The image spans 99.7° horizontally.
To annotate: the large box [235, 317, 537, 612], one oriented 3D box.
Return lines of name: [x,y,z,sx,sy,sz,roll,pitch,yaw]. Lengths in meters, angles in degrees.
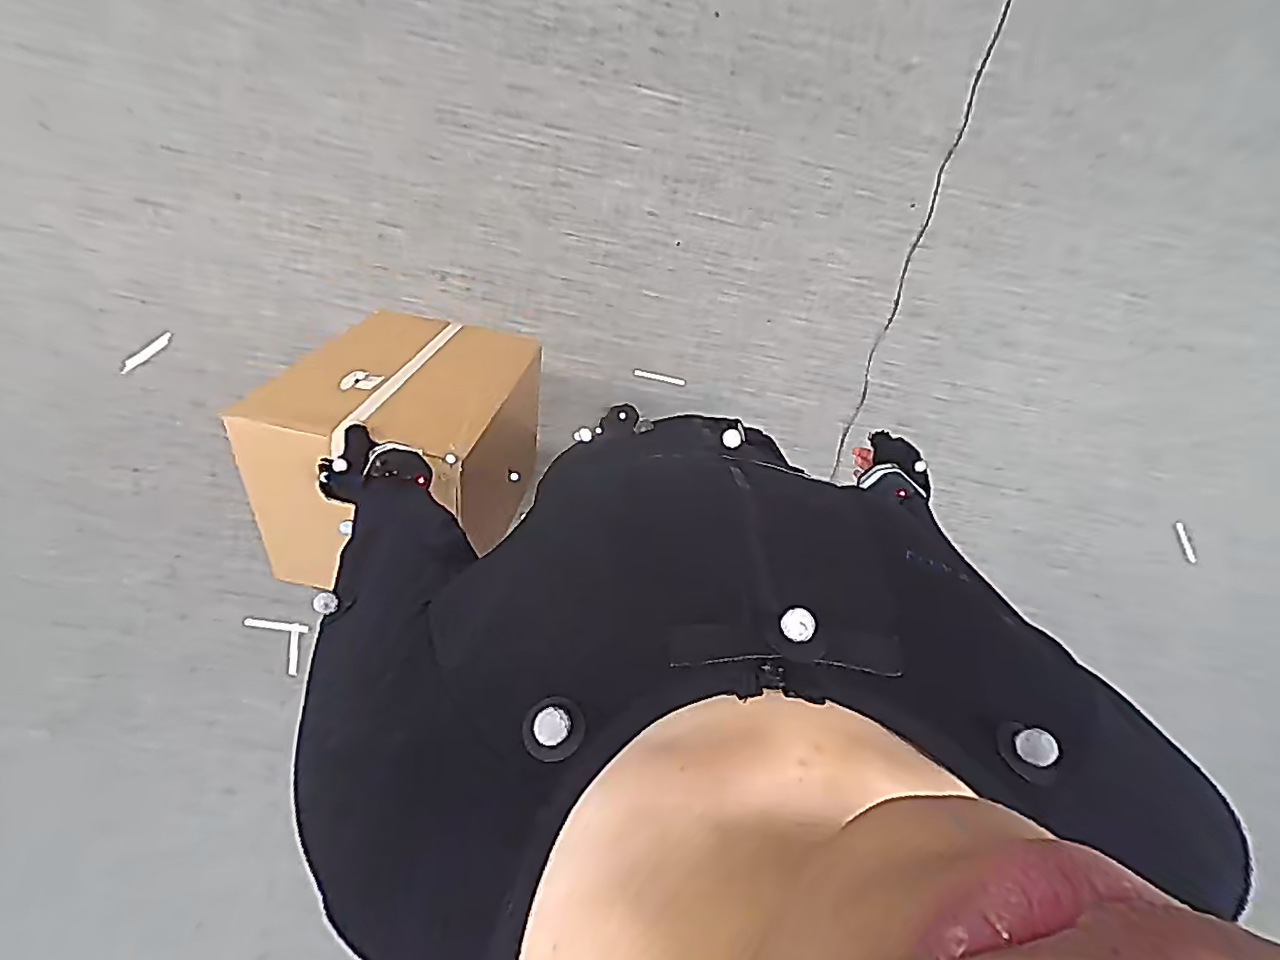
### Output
large box: [-0.388,-0.043,0.954,0.320,0.408,0.320,11,127,1]
